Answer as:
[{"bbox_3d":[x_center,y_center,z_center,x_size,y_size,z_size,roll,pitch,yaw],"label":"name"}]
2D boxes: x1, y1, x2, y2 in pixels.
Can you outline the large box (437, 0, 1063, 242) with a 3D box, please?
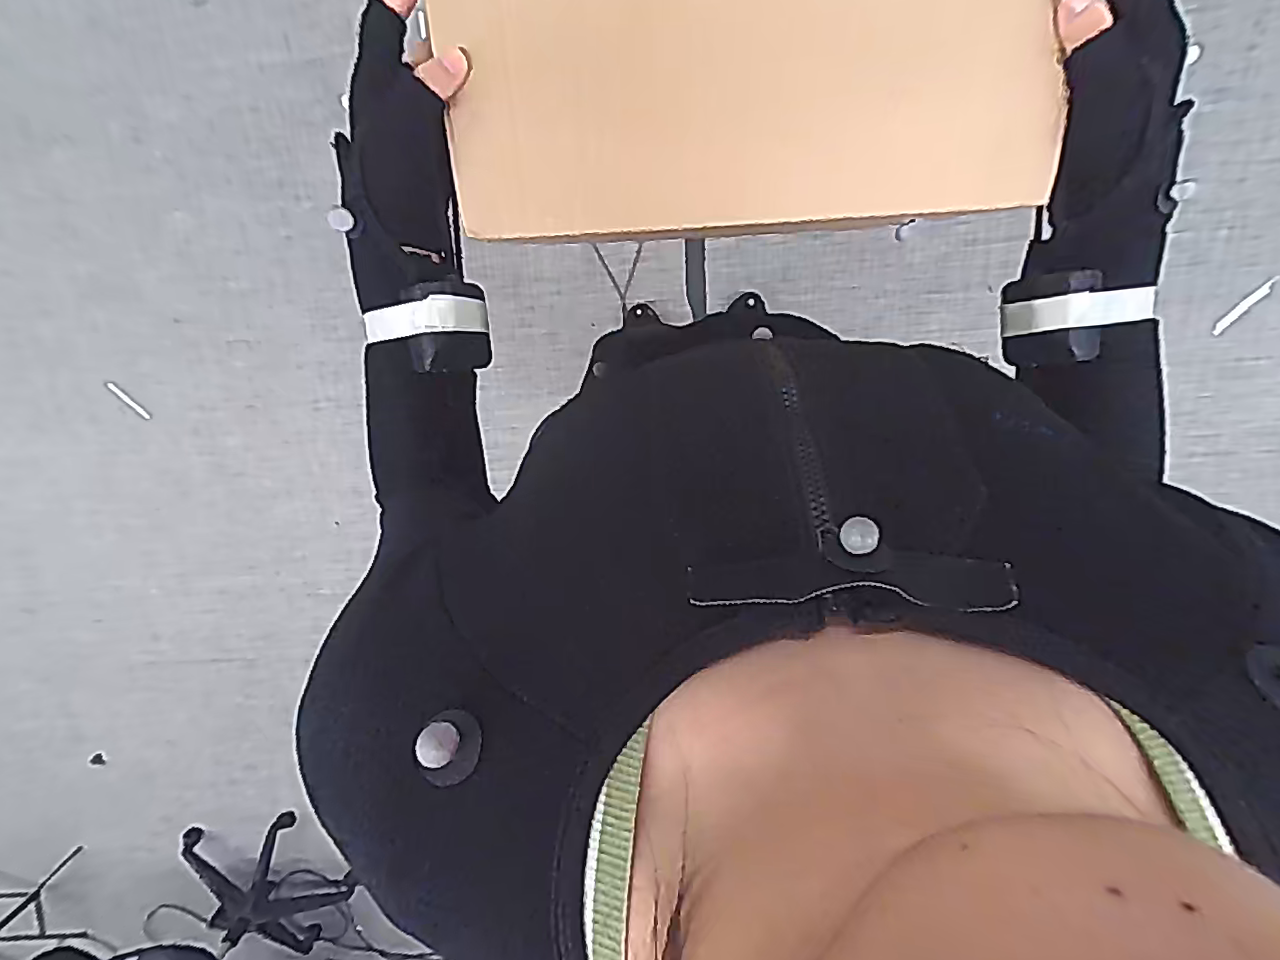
[{"bbox_3d":[0.072,-0.389,0.468,0.408,0.320,0.320,-2,113,3],"label":"large box"}]
